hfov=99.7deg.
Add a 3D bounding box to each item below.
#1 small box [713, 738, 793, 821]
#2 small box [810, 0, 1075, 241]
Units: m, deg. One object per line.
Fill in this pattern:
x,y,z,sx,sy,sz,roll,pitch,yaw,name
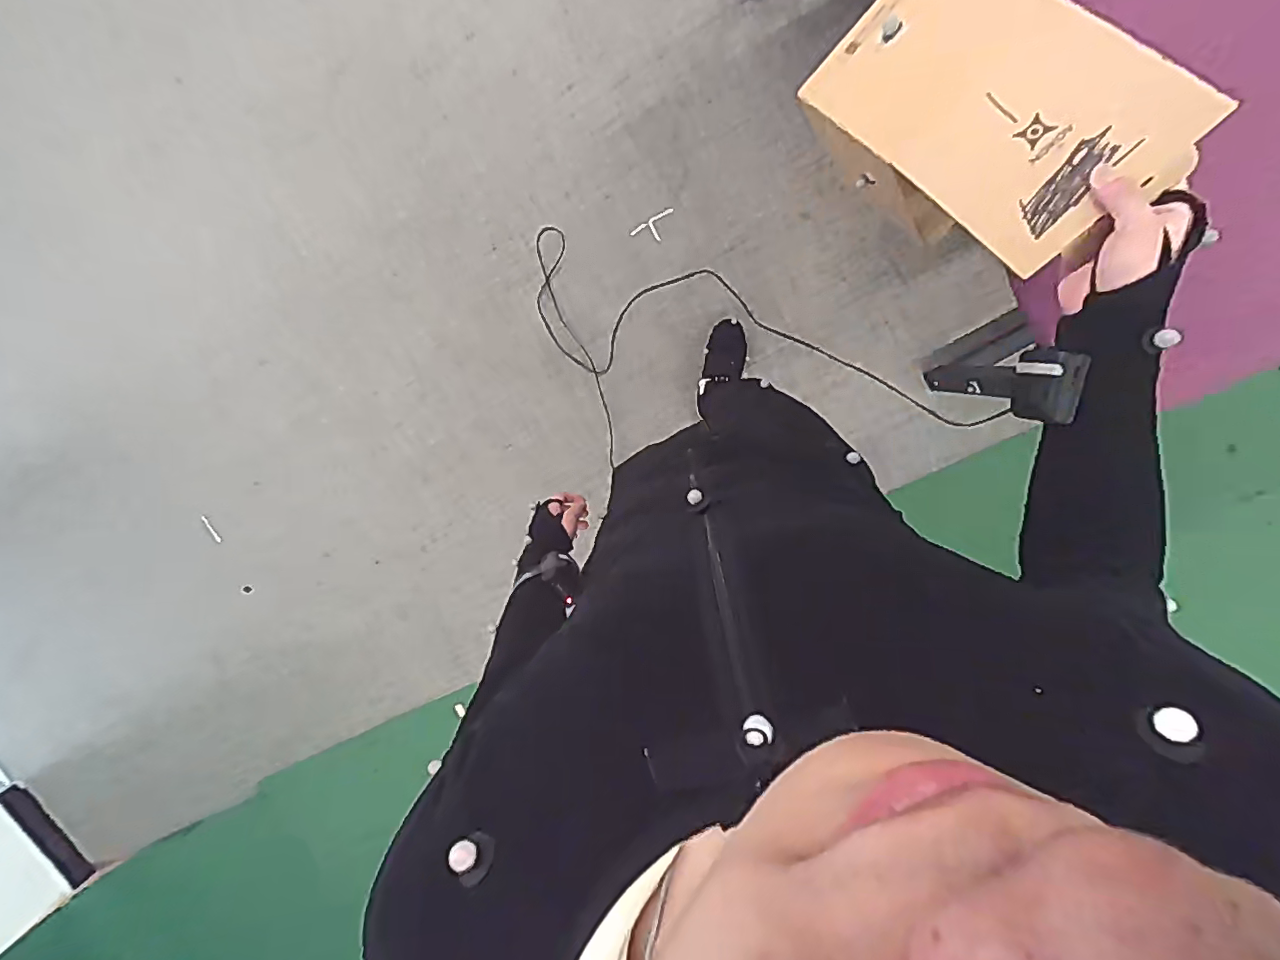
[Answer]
0.315,0.873,1.545,0.168,0.176,0.179,-26,97,11,small box
0.318,-0.406,0.579,0.168,0.179,0.176,-42,56,25,small box
